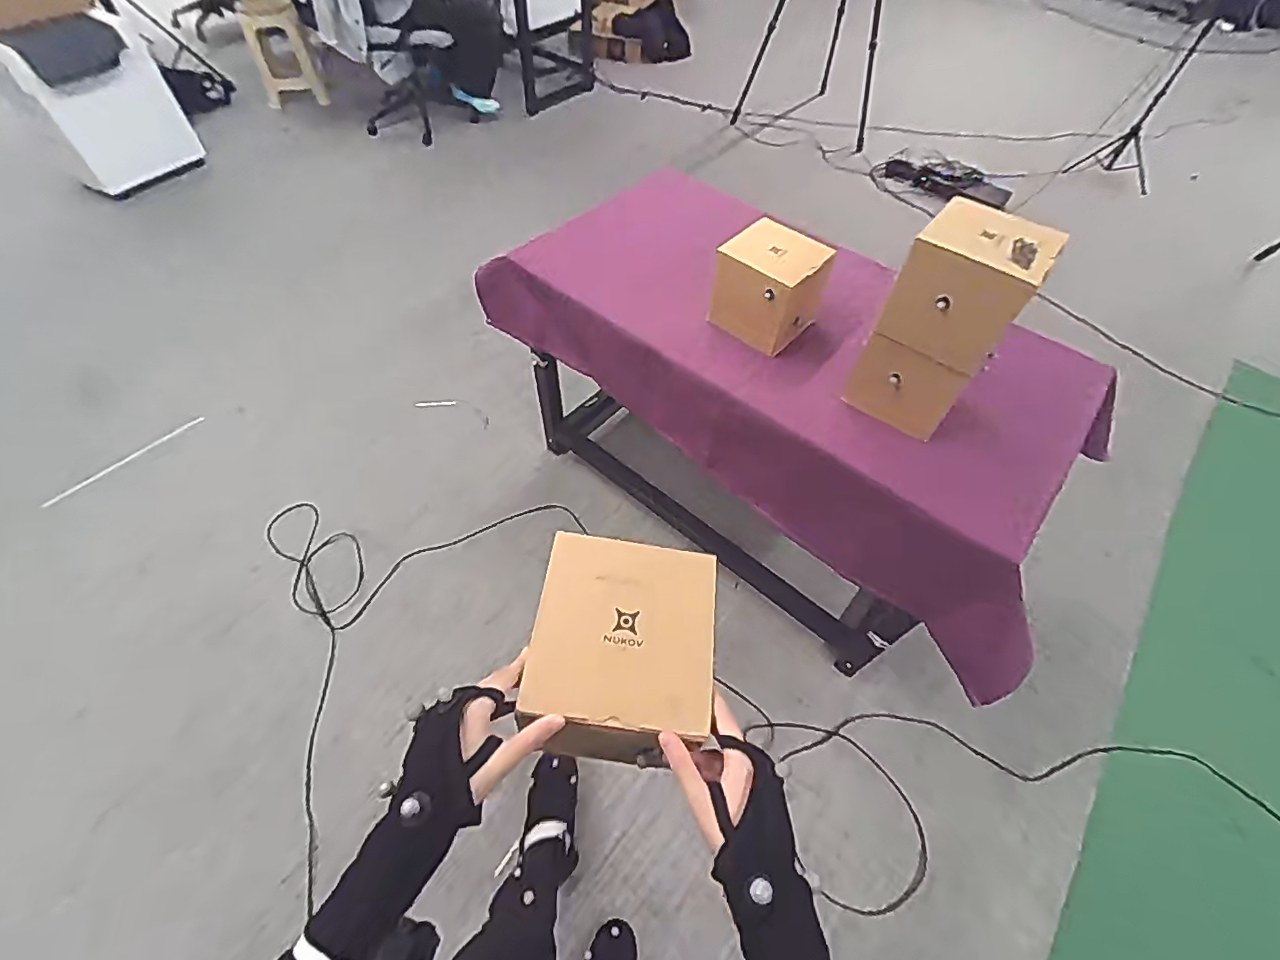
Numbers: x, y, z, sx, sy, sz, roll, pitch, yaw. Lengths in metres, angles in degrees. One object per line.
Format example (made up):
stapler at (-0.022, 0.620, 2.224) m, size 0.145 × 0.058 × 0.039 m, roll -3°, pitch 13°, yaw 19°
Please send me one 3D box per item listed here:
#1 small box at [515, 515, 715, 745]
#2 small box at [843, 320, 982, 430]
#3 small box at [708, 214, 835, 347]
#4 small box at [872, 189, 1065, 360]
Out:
small box at (-0.023, 0.164, 0.567) m, size 0.168 × 0.176 × 0.179 m, roll 10°, pitch 54°, yaw -2°
small box at (0.502, -0.222, 0.986) m, size 0.179 × 0.176 × 0.168 m, roll 33°, pitch 60°, yaw 20°
small box at (0.259, -0.404, 1.107) m, size 0.179 × 0.176 × 0.168 m, roll 37°, pitch 61°, yaw 20°
small box at (0.505, -0.315, 0.850) m, size 0.179 × 0.176 × 0.168 m, roll 34°, pitch 60°, yaw 20°
